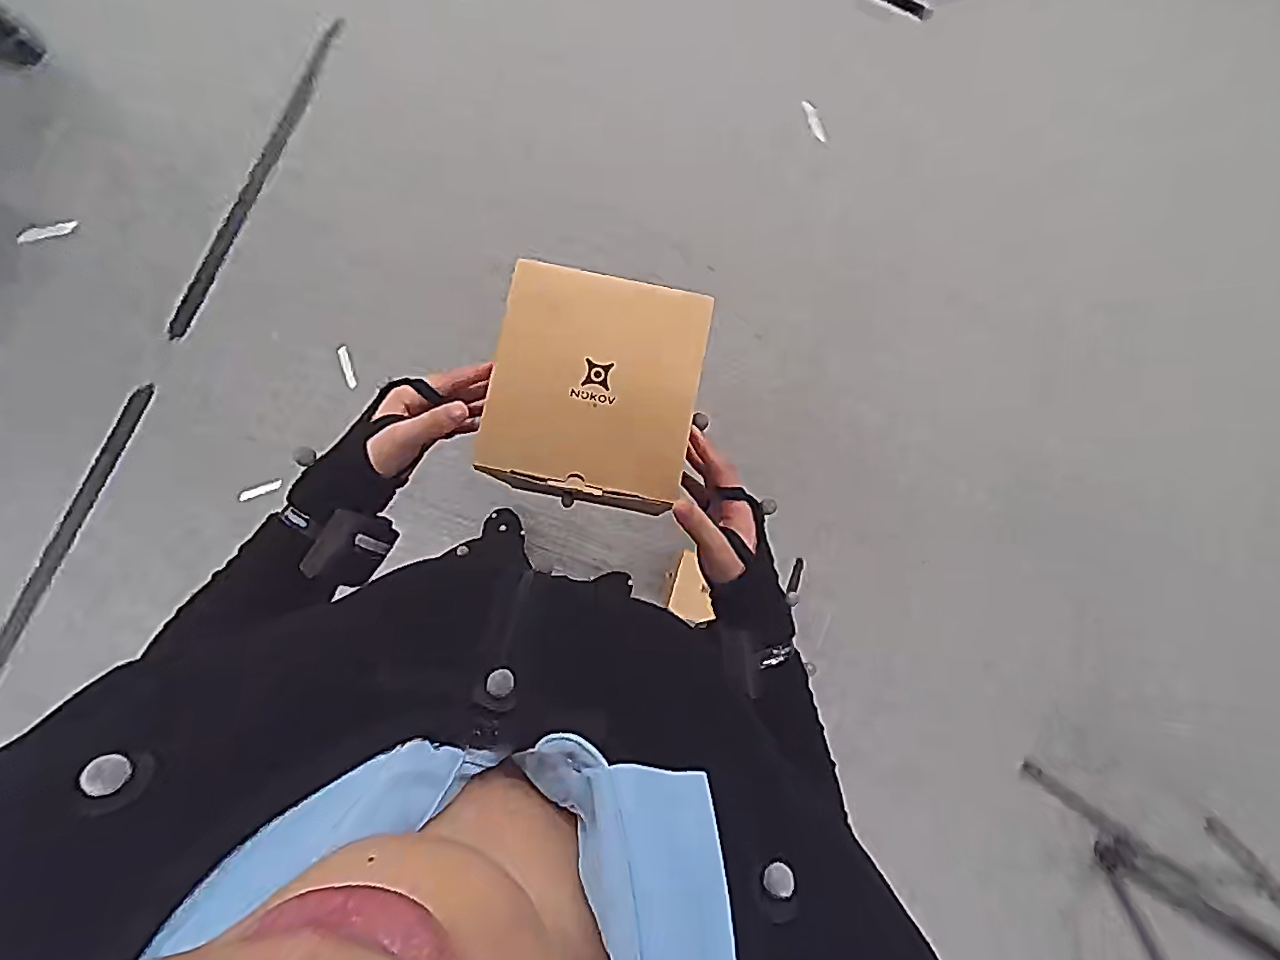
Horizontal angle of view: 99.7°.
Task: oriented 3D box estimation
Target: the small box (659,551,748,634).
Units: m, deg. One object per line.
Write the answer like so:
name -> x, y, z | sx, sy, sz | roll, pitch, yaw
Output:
small box -> 0.160, 0.292, 1.433 | 0.179, 0.176, 0.168 | 18, 83, -4
